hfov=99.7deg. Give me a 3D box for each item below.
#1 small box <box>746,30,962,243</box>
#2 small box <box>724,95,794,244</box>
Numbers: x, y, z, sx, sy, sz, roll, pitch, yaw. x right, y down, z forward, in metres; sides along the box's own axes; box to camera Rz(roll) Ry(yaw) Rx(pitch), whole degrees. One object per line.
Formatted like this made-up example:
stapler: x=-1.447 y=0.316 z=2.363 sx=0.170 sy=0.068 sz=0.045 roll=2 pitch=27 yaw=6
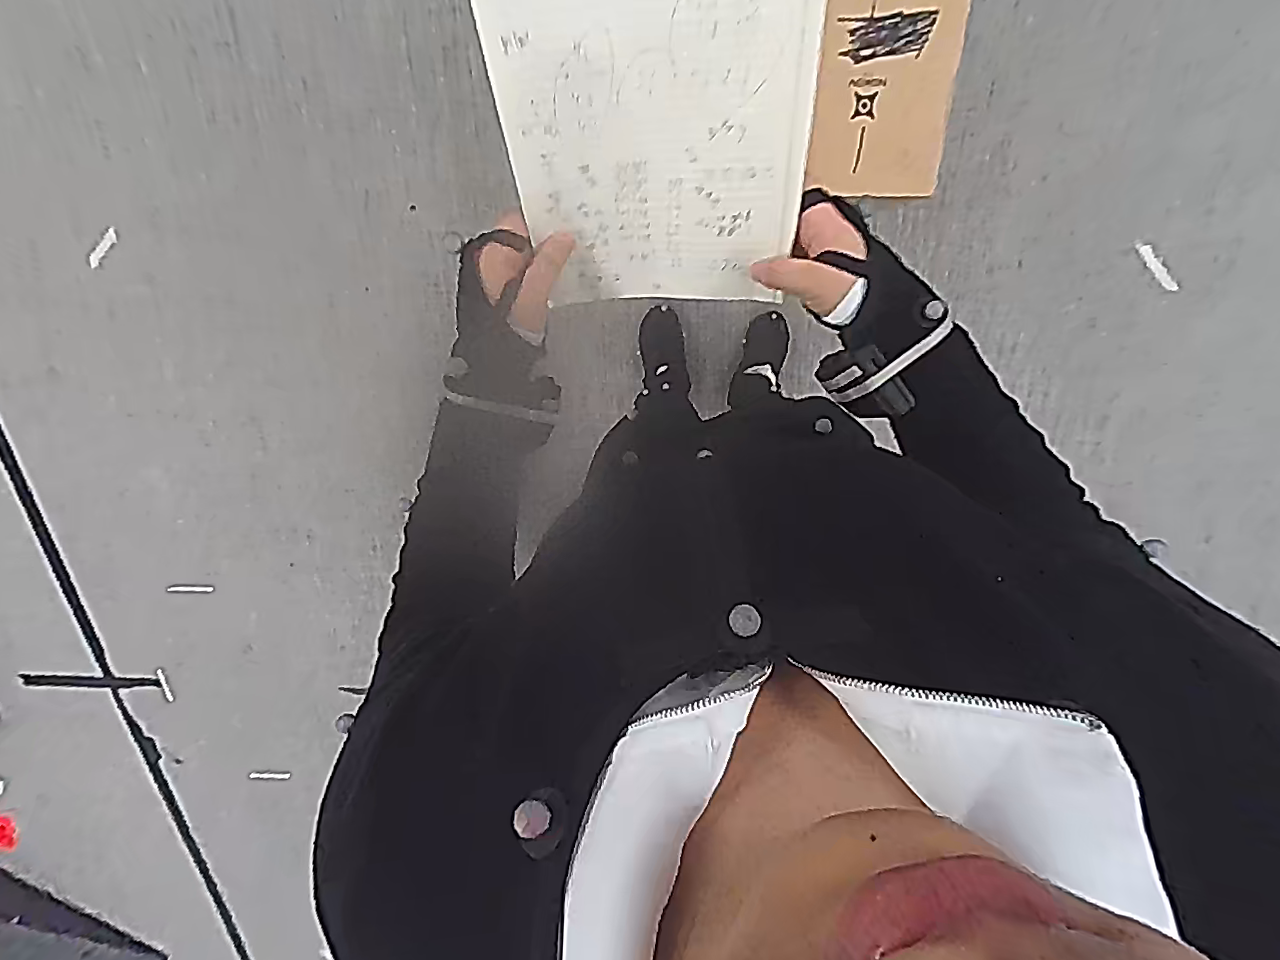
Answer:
small box: x=0.218 y=-0.365 z=0.607 sx=0.168 sy=0.176 sz=0.179 roll=1 pitch=113 yaw=1
small box: x=0.217 y=-0.427 z=0.760 sx=0.179 sy=0.176 sz=0.168 roll=-2 pitch=112 yaw=2
